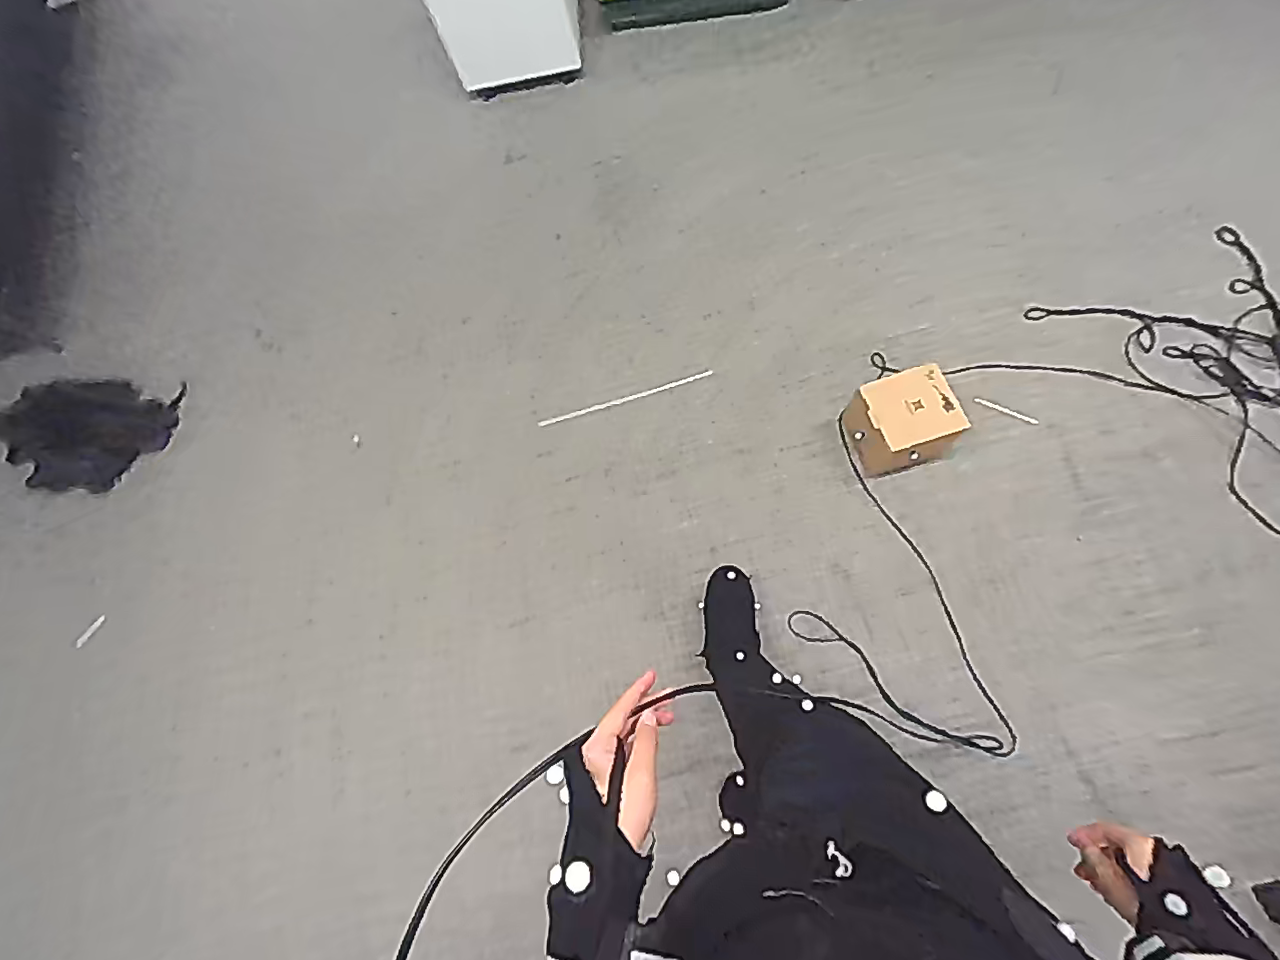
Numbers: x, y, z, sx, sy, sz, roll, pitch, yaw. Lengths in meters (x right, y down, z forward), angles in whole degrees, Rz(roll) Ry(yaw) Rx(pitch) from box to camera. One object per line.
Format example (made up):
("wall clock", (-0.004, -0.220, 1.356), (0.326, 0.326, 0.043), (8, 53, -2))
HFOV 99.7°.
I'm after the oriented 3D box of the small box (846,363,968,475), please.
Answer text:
("small box", (0.582, -0.128, 1.212), (0.179, 0.176, 0.168), (-18, 70, 2))
